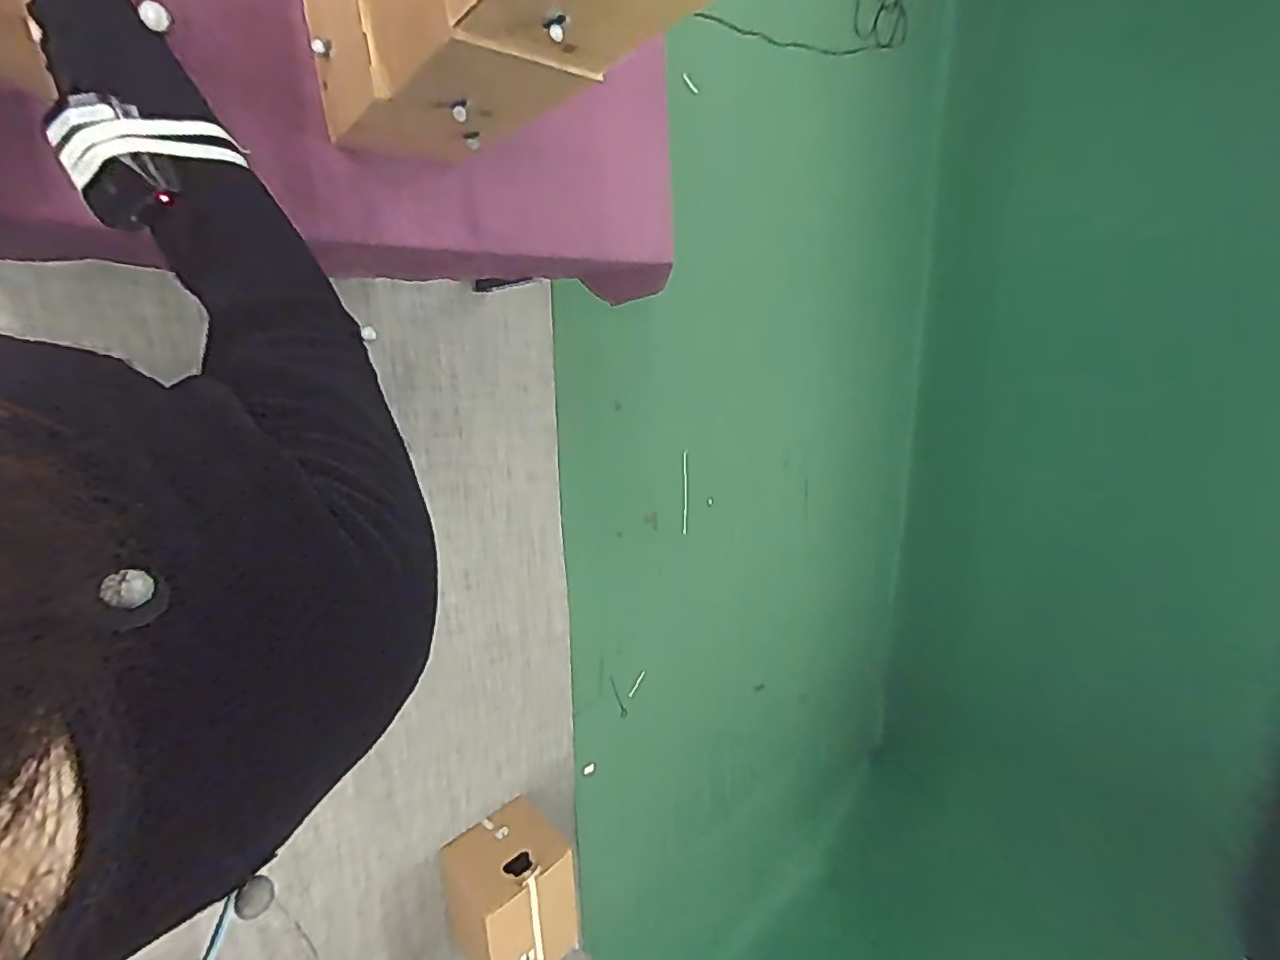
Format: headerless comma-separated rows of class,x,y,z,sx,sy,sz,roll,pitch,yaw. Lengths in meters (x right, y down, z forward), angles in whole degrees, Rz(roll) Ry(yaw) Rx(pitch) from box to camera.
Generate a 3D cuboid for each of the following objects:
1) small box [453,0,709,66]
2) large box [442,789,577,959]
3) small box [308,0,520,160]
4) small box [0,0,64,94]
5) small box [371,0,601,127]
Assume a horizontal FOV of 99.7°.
small box,-0.052,-0.468,0.418,0.168,0.176,0.179,-21,113,-39
large box,-0.438,1.368,1.830,0.320,0.320,0.408,-15,110,-42
small box,-0.271,-0.509,0.655,0.179,0.176,0.168,-17,110,-41
small box,-0.561,-0.427,0.394,0.168,0.176,0.179,-15,109,-41
small box,-0.160,-0.487,0.538,0.168,0.176,0.179,-18,111,-40
